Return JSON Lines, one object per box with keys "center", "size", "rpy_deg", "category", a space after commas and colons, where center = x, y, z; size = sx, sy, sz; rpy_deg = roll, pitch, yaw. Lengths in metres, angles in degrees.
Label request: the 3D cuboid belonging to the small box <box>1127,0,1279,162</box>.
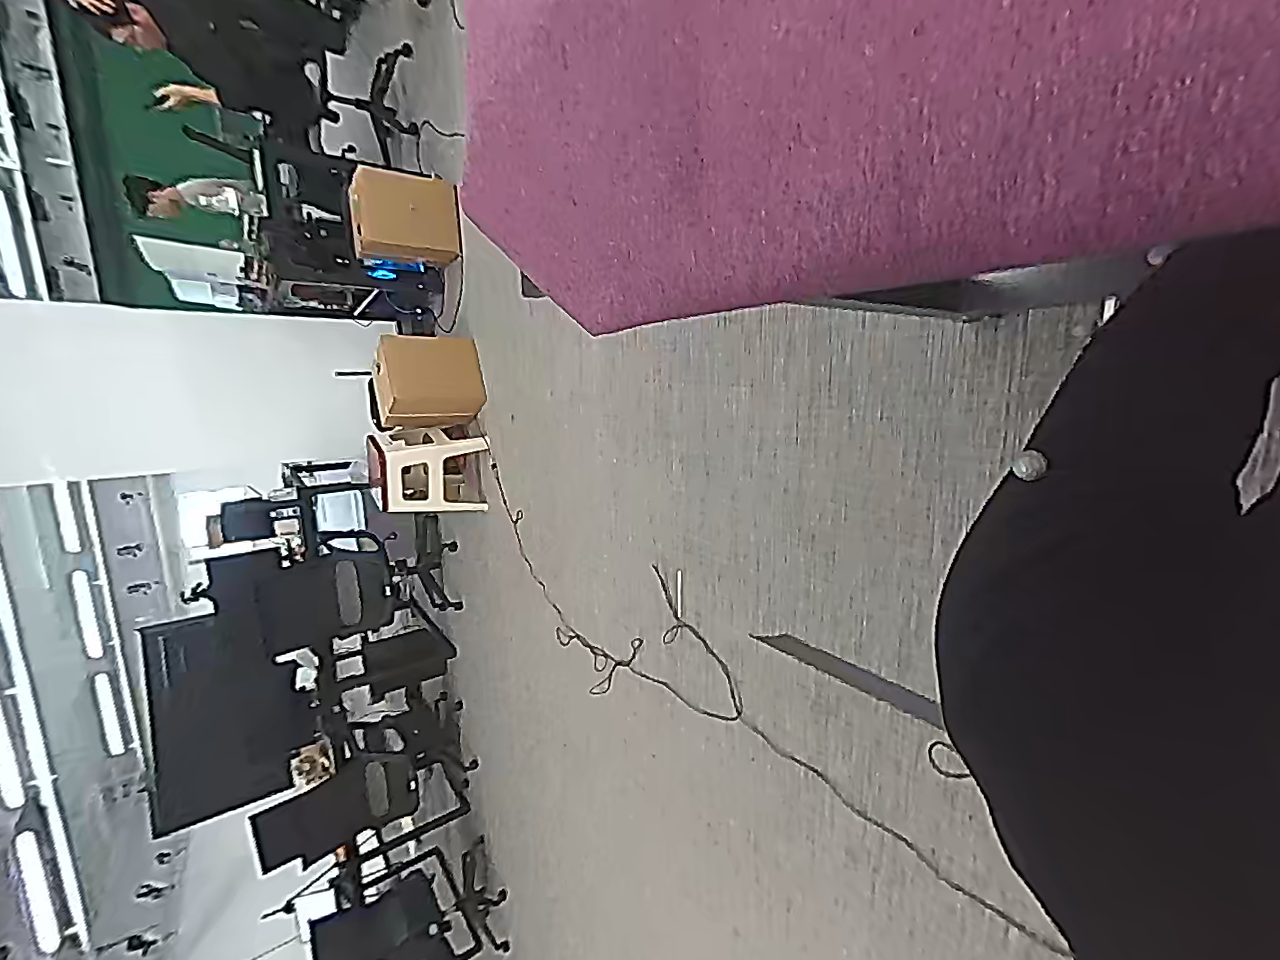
{"center": [0.527, -0.390, 0.434], "size": [0.168, 0.176, 0.179], "rpy_deg": [8, 105, 54], "category": "small box"}
